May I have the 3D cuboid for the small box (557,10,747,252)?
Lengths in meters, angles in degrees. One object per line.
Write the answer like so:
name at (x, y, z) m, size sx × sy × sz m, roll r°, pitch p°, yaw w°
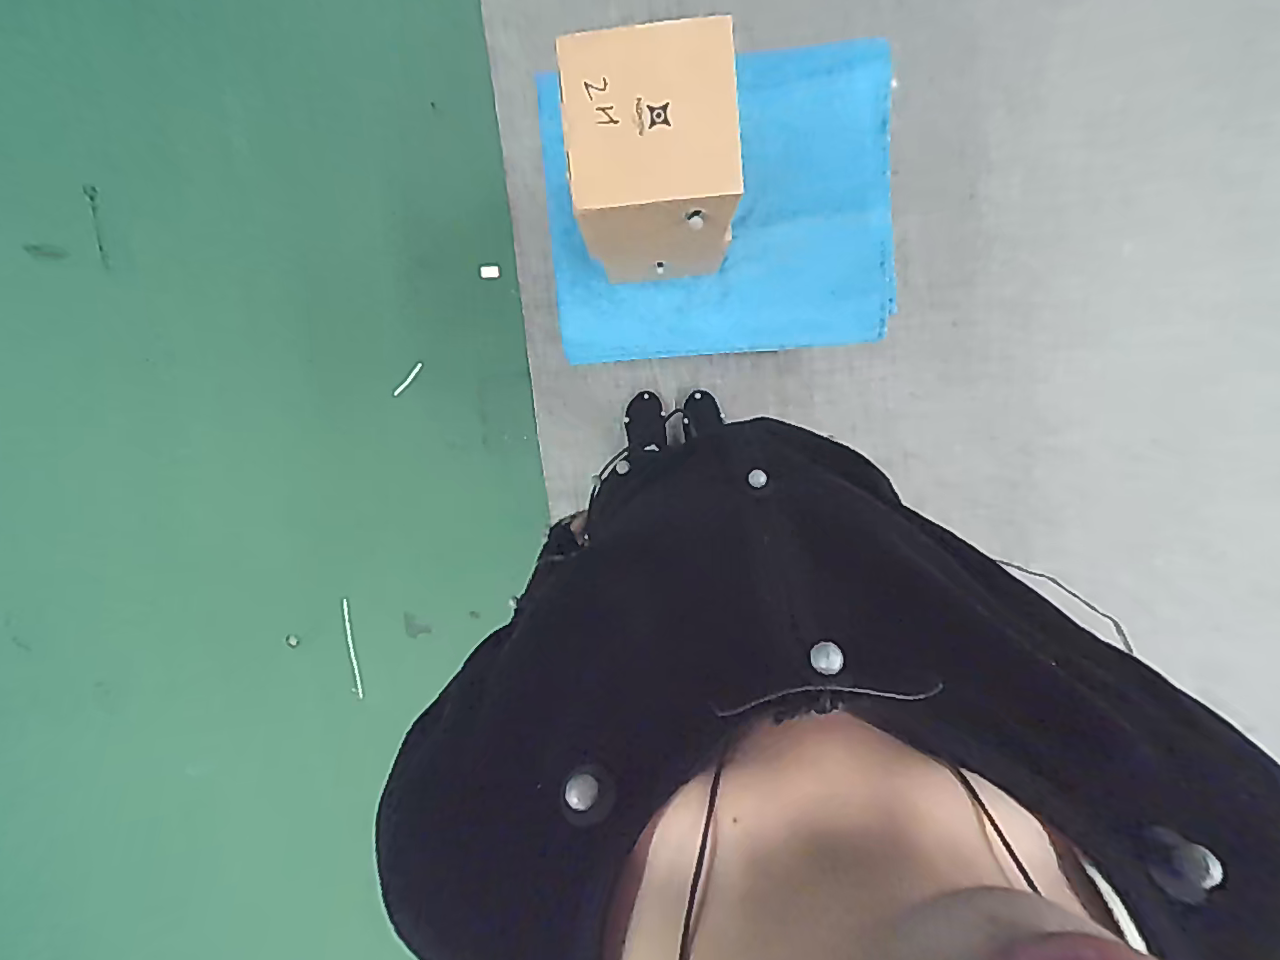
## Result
small box at (0.014, -0.368, 0.603) m, size 0.179 × 0.176 × 0.168 m, roll -5°, pitch 97°, yaw 2°

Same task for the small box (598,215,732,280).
small box at (0.027, -0.392, 0.766) m, size 0.179 × 0.176 × 0.168 m, roll -5°, pitch 97°, yaw 3°
